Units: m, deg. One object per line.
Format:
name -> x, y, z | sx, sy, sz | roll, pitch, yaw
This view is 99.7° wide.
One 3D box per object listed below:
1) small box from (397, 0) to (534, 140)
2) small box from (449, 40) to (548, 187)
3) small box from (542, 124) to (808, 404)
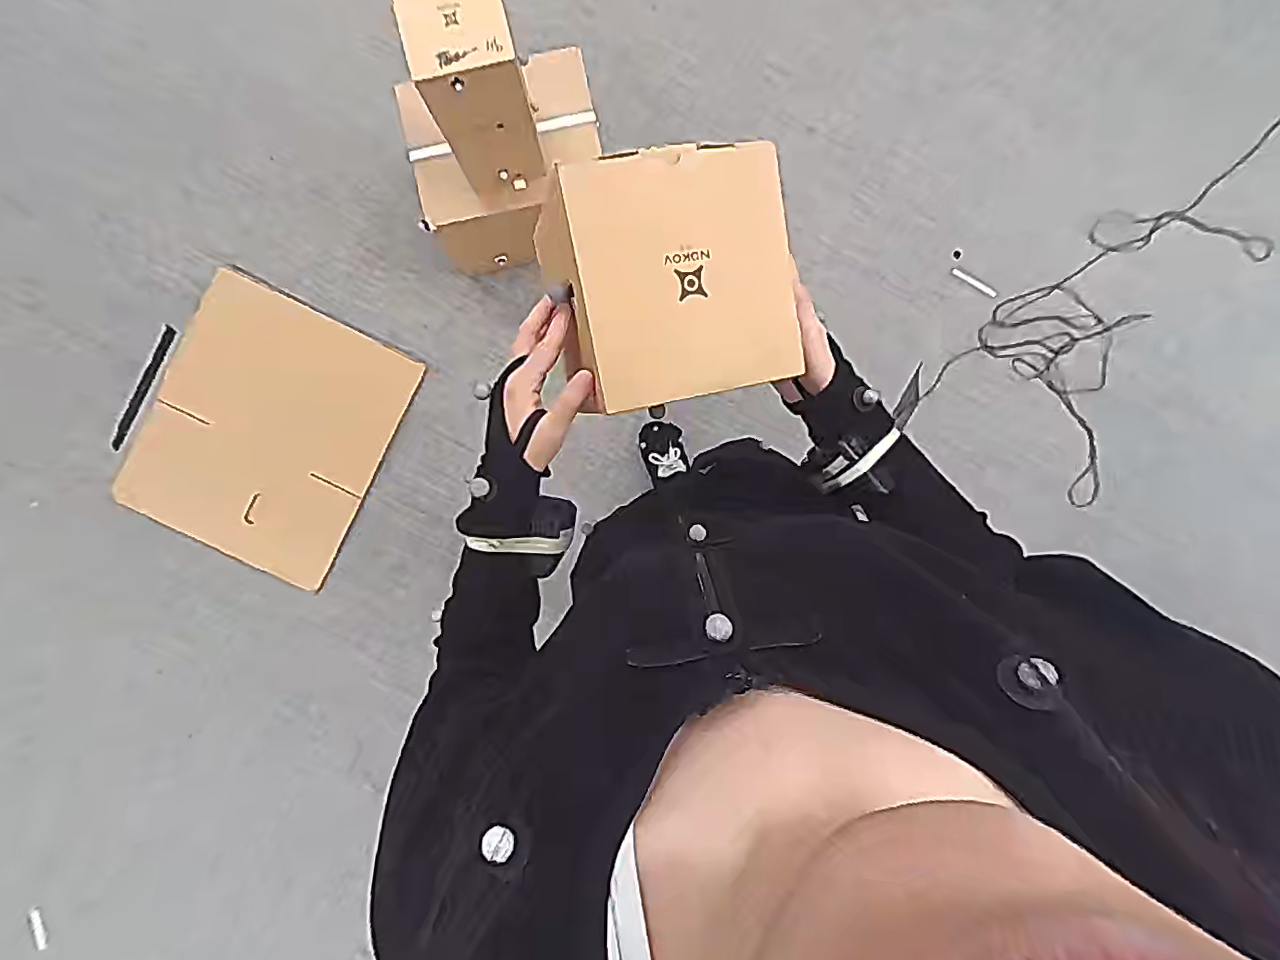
small box -> -0.286, -0.717, 0.904 | 0.168, 0.176, 0.179 | -14, 92, 0
small box -> -0.289, -0.720, 1.069 | 0.168, 0.176, 0.179 | -14, 93, -1
small box -> 0.018, -0.166, 0.465 | 0.168, 0.176, 0.179 | -14, 100, -13
